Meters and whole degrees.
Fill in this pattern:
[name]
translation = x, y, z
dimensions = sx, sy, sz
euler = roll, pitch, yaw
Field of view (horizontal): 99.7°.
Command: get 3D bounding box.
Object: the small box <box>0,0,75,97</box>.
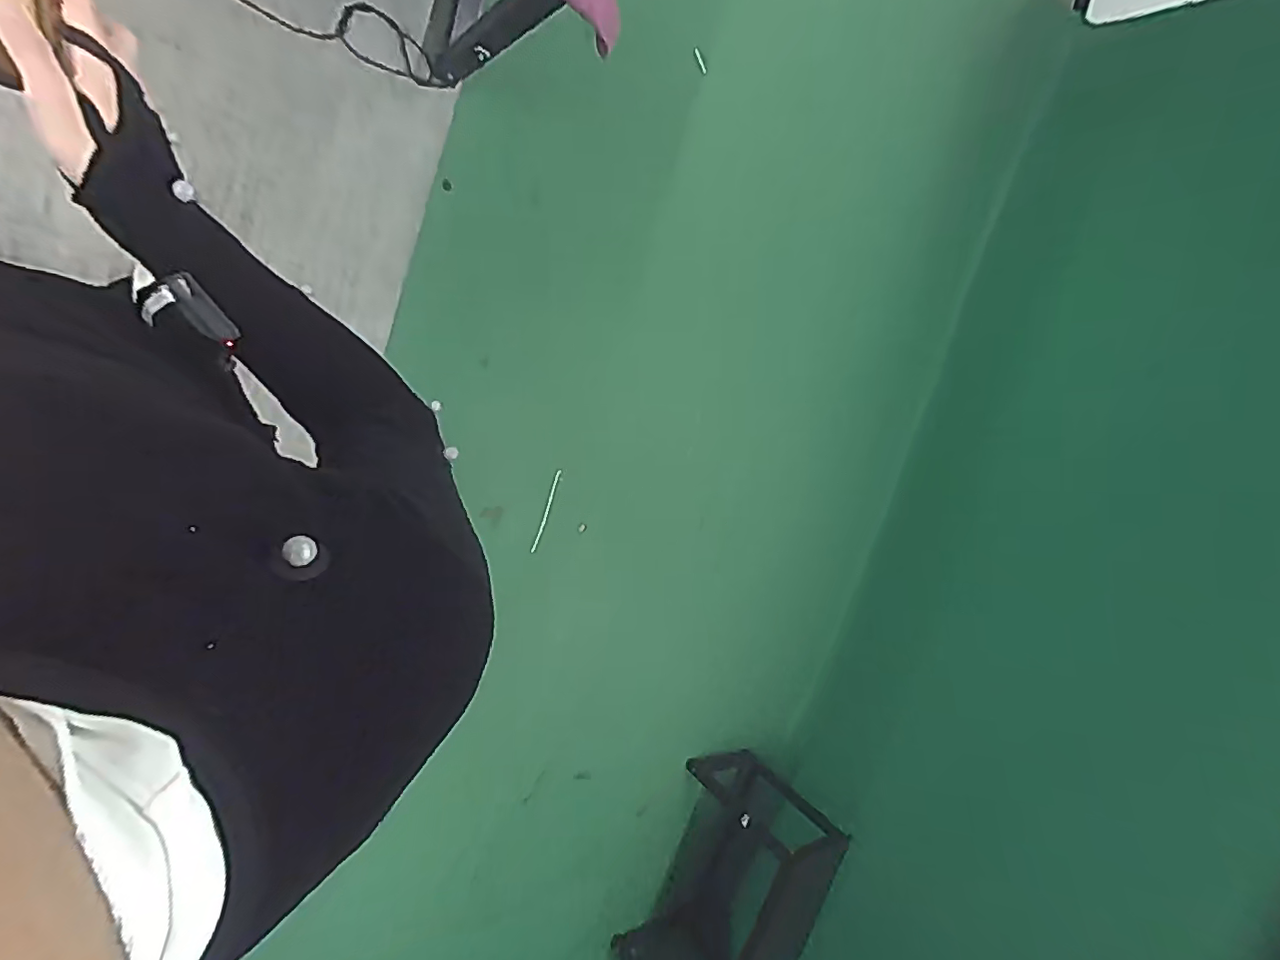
[small box]
translation = -0.499, -0.401, 0.353
dimensions = 0.168, 0.176, 0.179
euler = 0, 102, -40
